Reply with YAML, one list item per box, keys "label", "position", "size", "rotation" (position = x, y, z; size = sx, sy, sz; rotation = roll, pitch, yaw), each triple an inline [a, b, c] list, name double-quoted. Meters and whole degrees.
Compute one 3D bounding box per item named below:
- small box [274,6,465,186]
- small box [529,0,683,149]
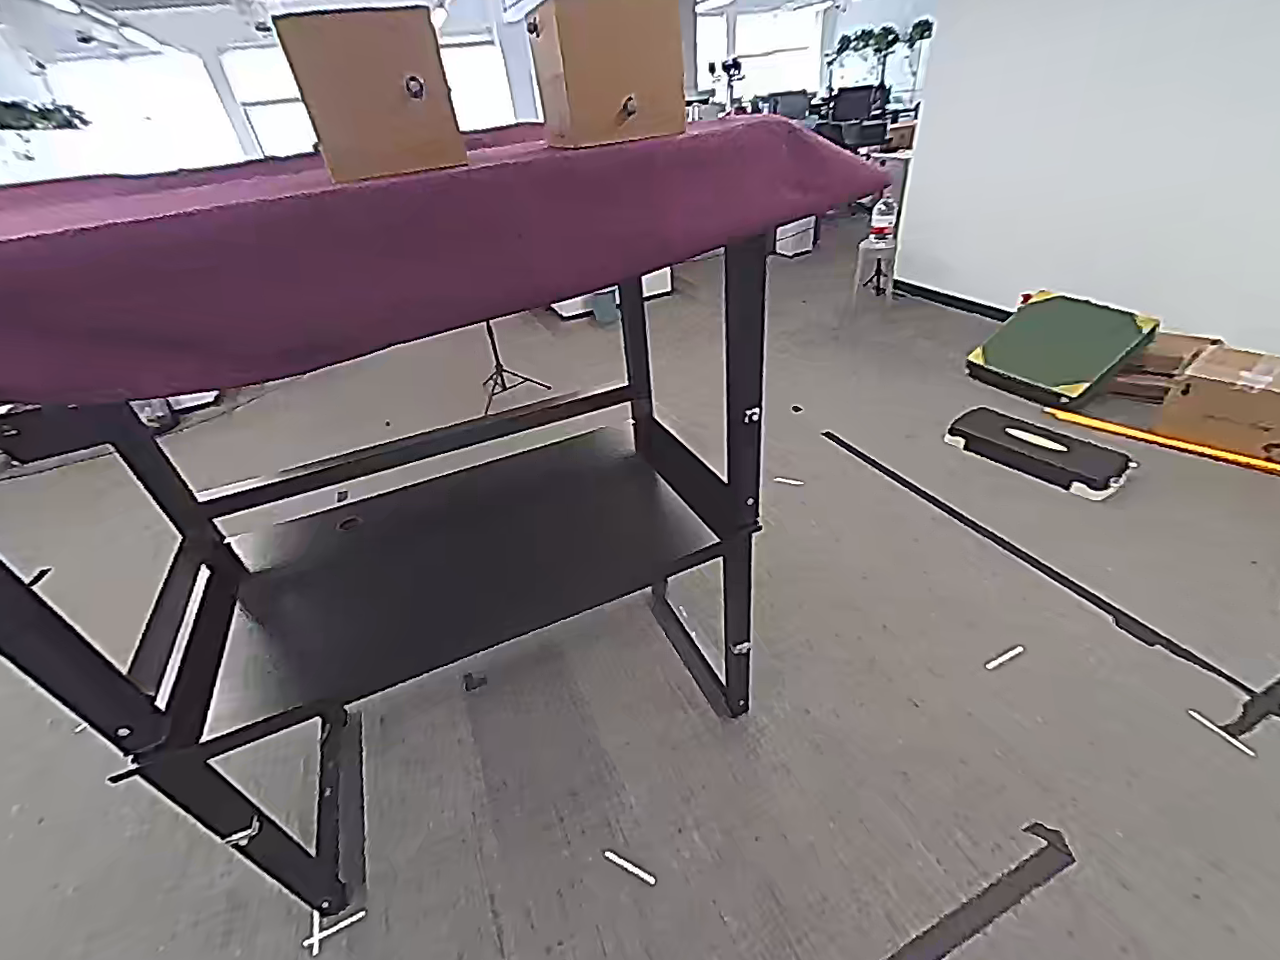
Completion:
- label: "small box"
  position: [-0.344, -0.506, 0.724]
  size: [0.179, 0.176, 0.168]
  rotation: [-18, 36, -14]
- label: "small box"
  position: [-0.046, -0.593, 0.787]
  size: [0.179, 0.176, 0.168]
  rotation: [-18, 35, -15]
